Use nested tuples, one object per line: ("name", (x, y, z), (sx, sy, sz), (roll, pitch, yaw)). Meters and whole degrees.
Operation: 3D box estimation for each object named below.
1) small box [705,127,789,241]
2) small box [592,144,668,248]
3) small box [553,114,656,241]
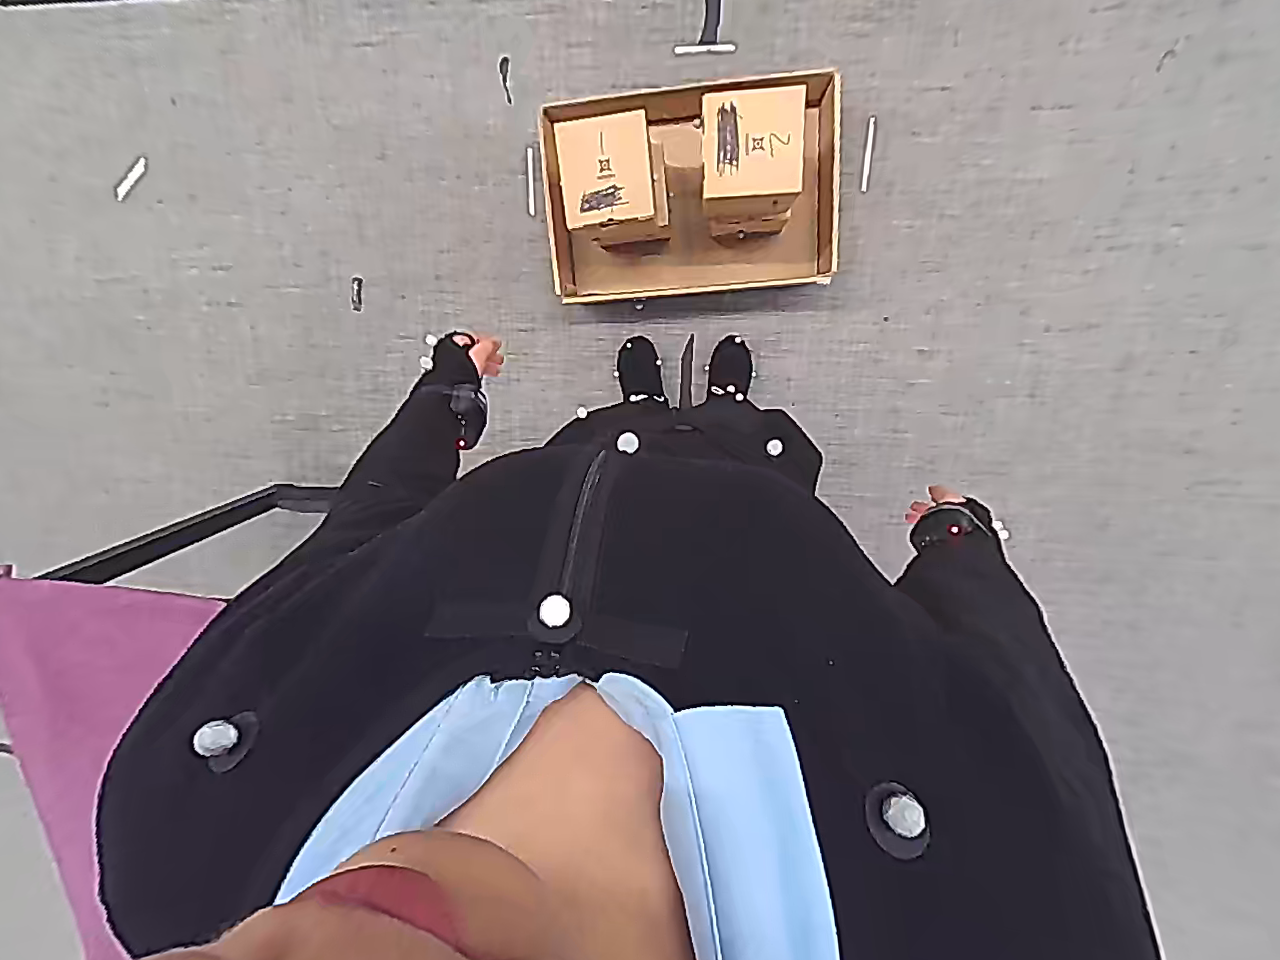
("small box", (0.228, -0.635, 1.179), (0.168, 0.176, 0.179), (-2, 106, 7))
("small box", (-0.029, -0.624, 1.205), (0.179, 0.176, 0.168), (-4, 104, 6))
("small box", (-0.060, -0.573, 1.051), (0.168, 0.176, 0.179), (-5, 104, 5))
